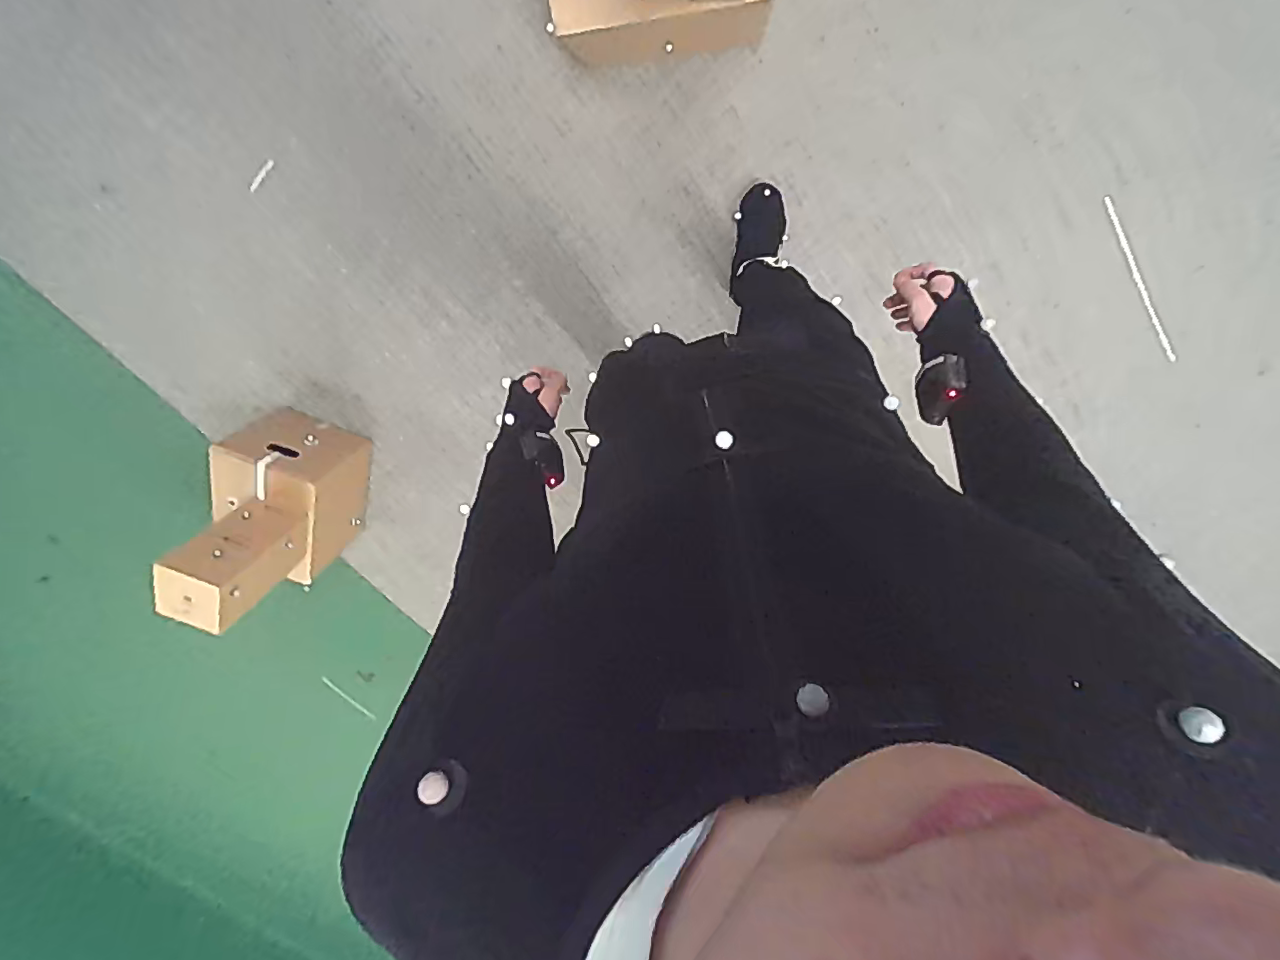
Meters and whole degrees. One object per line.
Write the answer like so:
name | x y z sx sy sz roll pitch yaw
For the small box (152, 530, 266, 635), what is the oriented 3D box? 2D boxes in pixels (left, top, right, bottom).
small box | -1.104 0.257 1.396 0.168 0.176 0.179 23 119 -4

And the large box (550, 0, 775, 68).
large box | 0.042 -1.027 1.024 0.408 0.320 0.320 -2 117 10

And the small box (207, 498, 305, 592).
small box | -1.086 0.179 1.540 0.168 0.176 0.179 21 119 -4
